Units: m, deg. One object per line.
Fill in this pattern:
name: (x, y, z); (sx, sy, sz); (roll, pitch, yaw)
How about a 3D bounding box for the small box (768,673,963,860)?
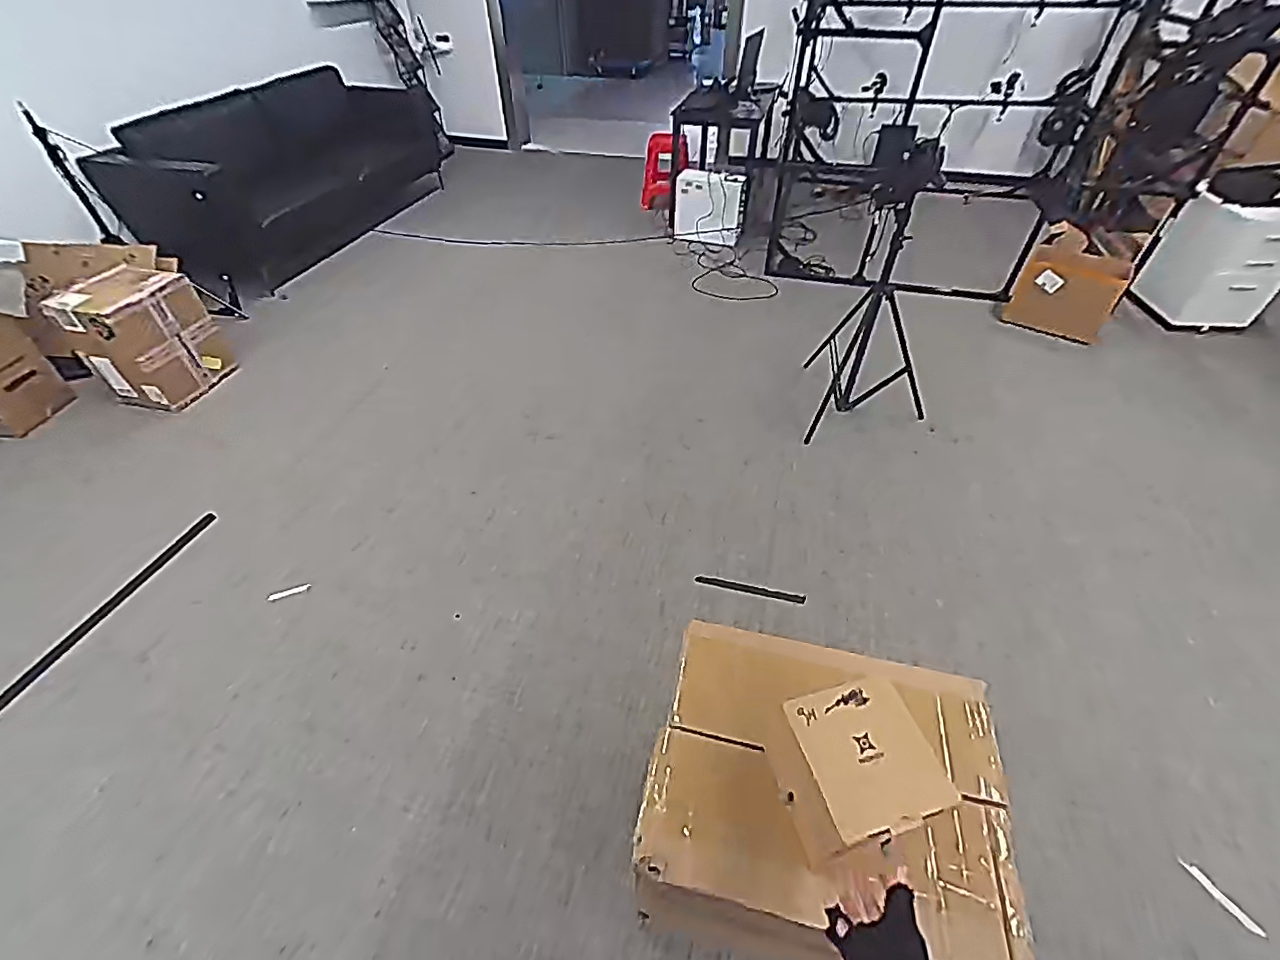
small box: (0.296, 0.404, 0.755); (0.168, 0.176, 0.179); (-12, 47, -10)
